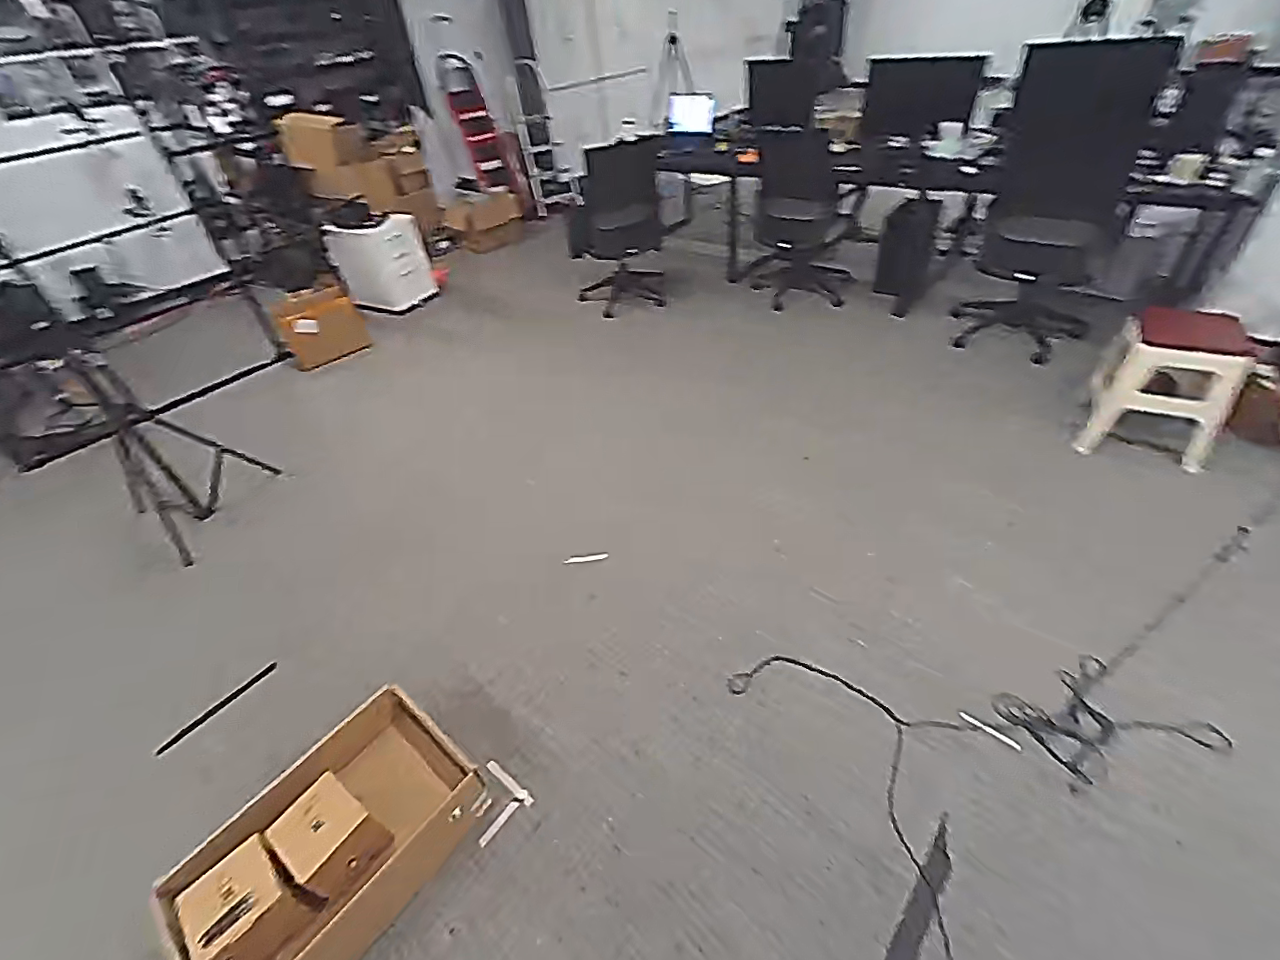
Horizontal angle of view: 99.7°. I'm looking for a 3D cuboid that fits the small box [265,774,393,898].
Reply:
[{"bbox_3d":[-0.725,0.846,1.280,0.179,0.176,0.168,21,48,29],"label":"small box"}]
